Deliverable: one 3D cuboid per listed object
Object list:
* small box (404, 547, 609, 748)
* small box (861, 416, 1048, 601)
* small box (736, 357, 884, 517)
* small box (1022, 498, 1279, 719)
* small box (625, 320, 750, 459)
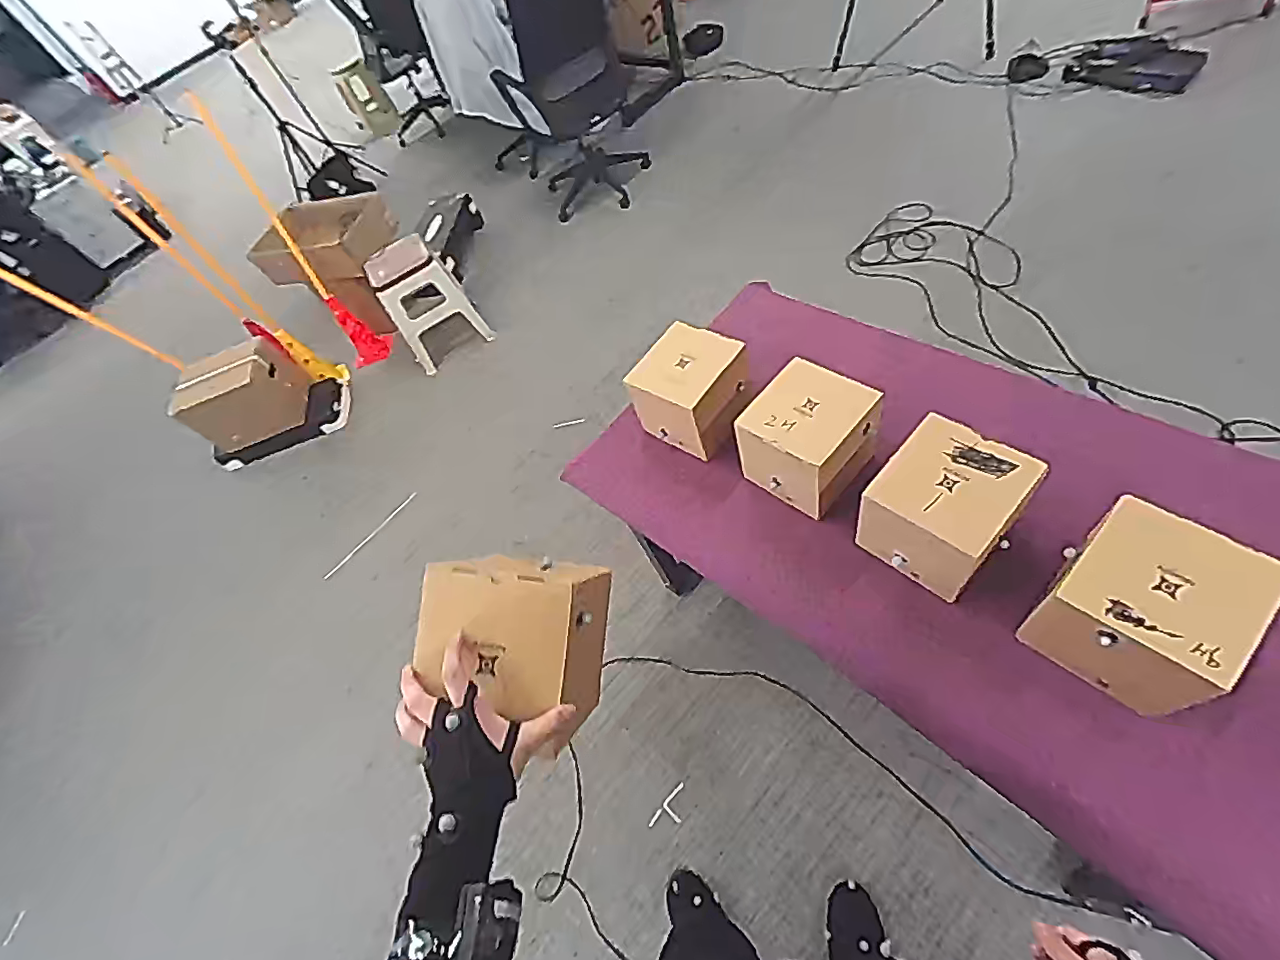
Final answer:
[{"bbox_3d":[-0.140,0.175,0.624,0.168,0.176,0.179,5,85,12],"label":"small box"},{"bbox_3d":[0.447,0.046,0.803,0.179,0.176,0.168,-45,56,-12],"label":"small box"},{"bbox_3d":[0.289,-0.071,0.931,0.168,0.176,0.179,35,74,33],"label":"small box"},{"bbox_3d":[0.617,0.162,0.670,0.179,0.176,0.168,-44,55,-13],"label":"small box"},{"bbox_3d":[0.102,-0.175,1.061,0.168,0.176,0.179,29,71,32],"label":"small box"}]
